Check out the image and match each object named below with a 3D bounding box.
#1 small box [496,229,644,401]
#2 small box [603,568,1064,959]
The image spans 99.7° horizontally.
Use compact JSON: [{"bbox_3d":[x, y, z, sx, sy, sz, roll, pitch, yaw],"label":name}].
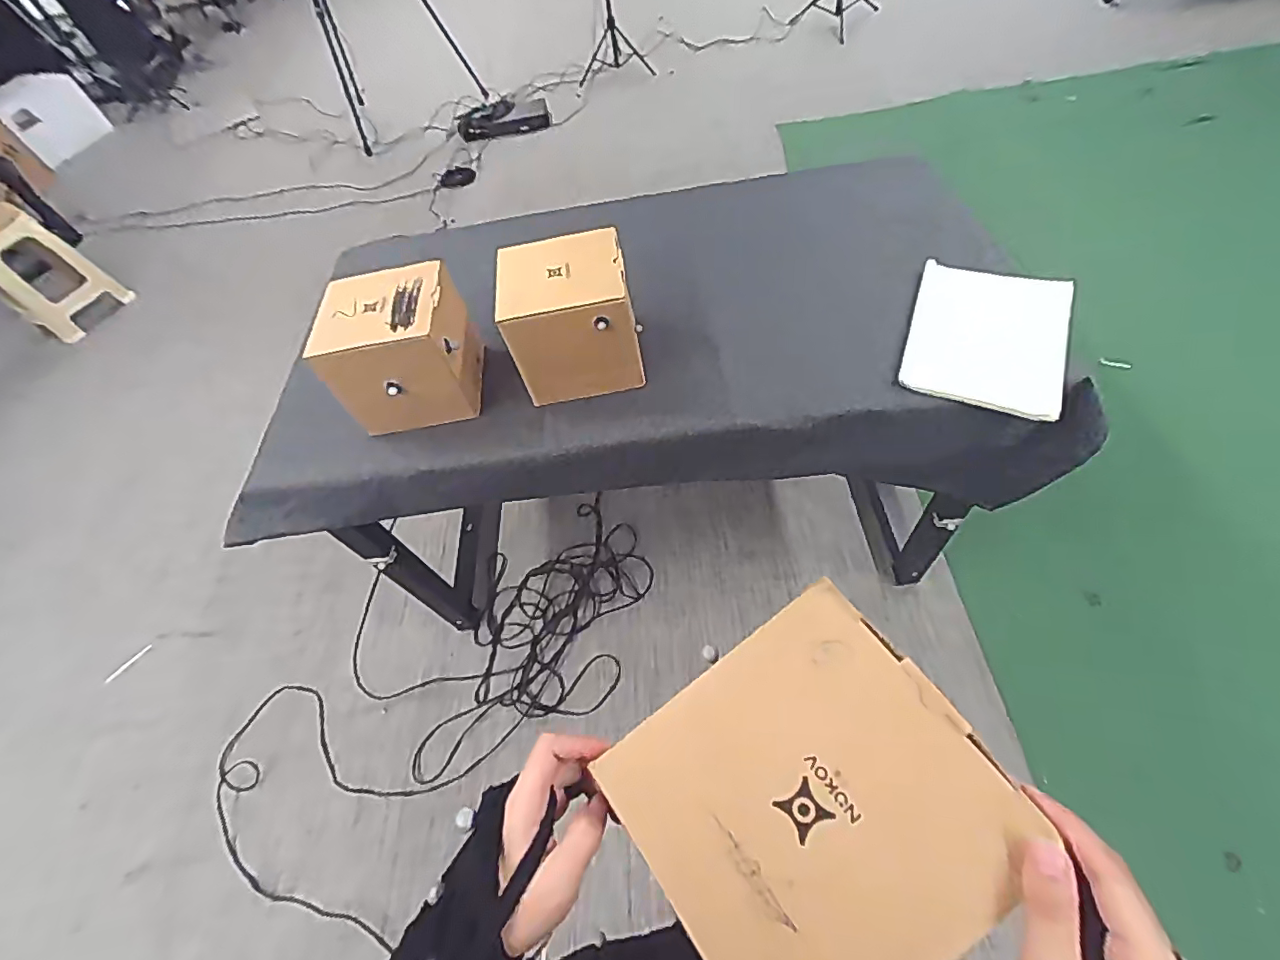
[{"bbox_3d":[-0.099,-0.237,0.804,0.179,0.176,0.168,-10,55,2],"label":"small box"},{"bbox_3d":[0.106,0.186,0.357,0.179,0.176,0.168,-39,66,-3],"label":"small box"}]
